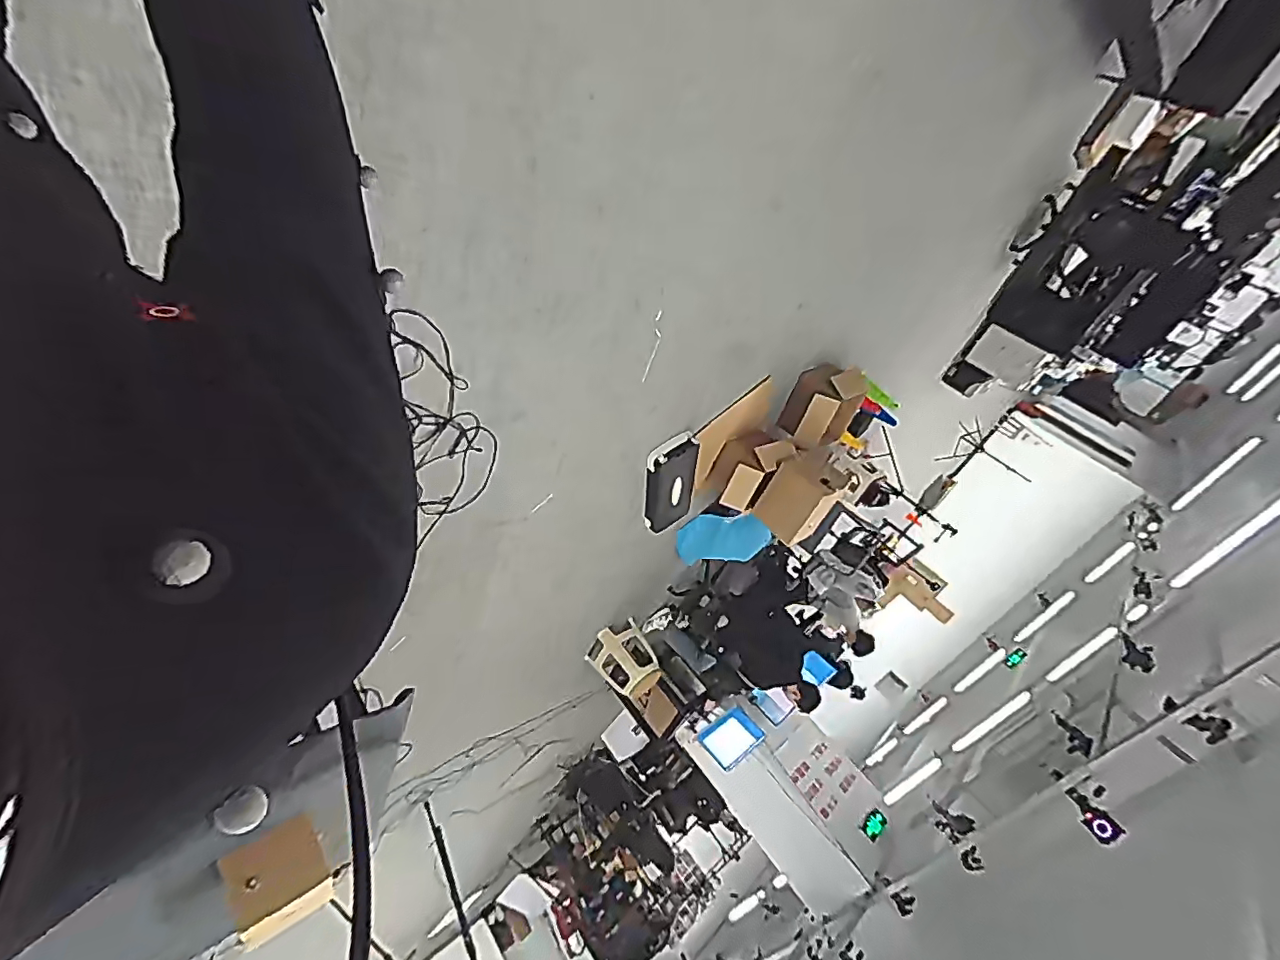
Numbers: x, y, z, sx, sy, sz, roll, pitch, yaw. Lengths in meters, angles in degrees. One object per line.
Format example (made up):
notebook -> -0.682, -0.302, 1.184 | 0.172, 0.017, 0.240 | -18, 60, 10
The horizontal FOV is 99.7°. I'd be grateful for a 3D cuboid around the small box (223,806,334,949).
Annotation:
small box -> -0.814, 0.888, 1.220 | 0.179, 0.176, 0.168 | -18, 143, -42
